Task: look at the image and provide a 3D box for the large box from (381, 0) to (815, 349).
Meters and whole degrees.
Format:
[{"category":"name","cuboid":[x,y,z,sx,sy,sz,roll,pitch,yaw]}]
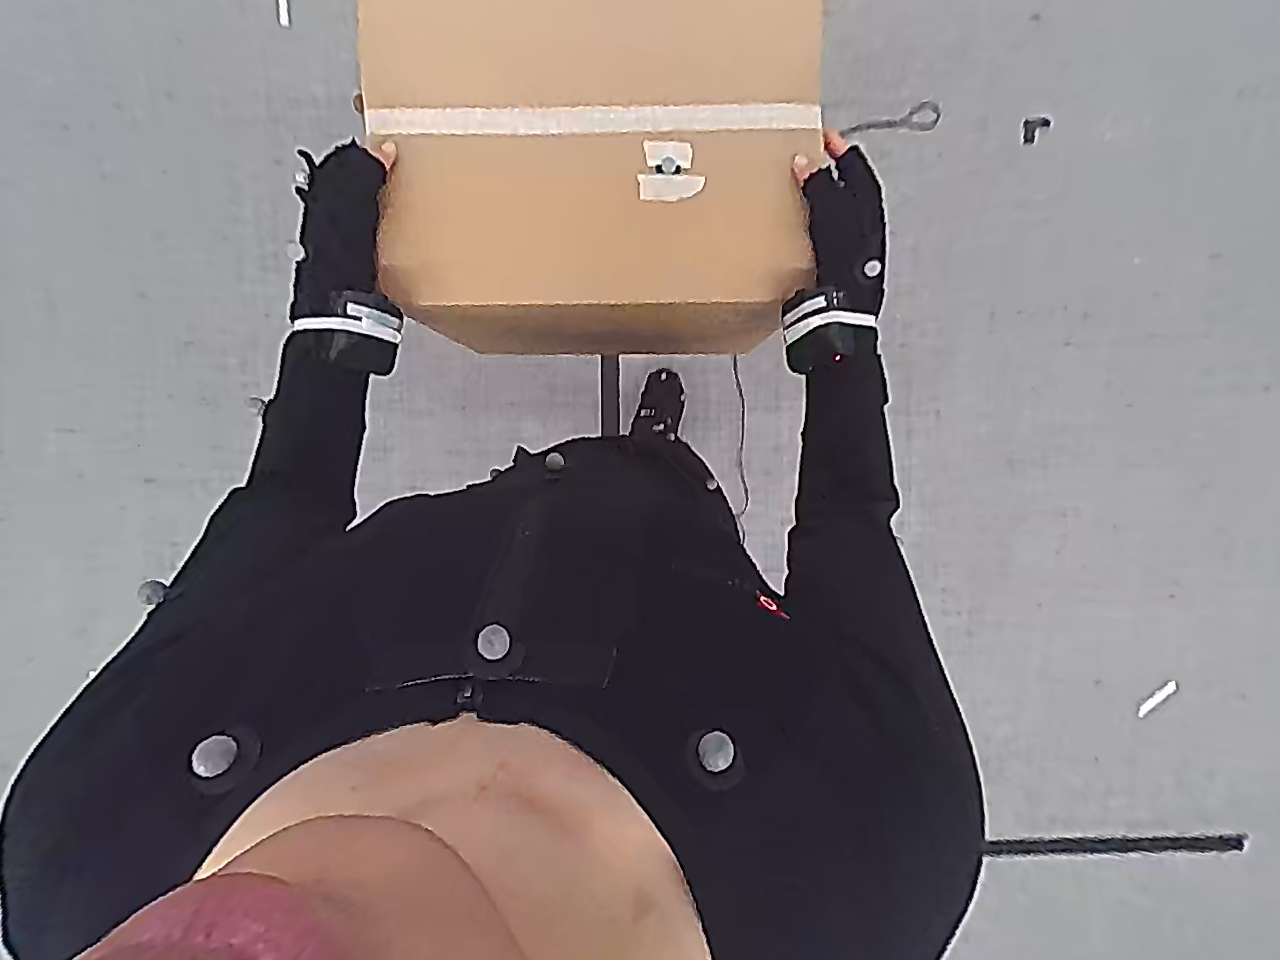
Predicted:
[{"category":"large box","cuboid":[-0.039,-0.343,0.650,0.408,0.320,0.320,-1,95,-1]}]
